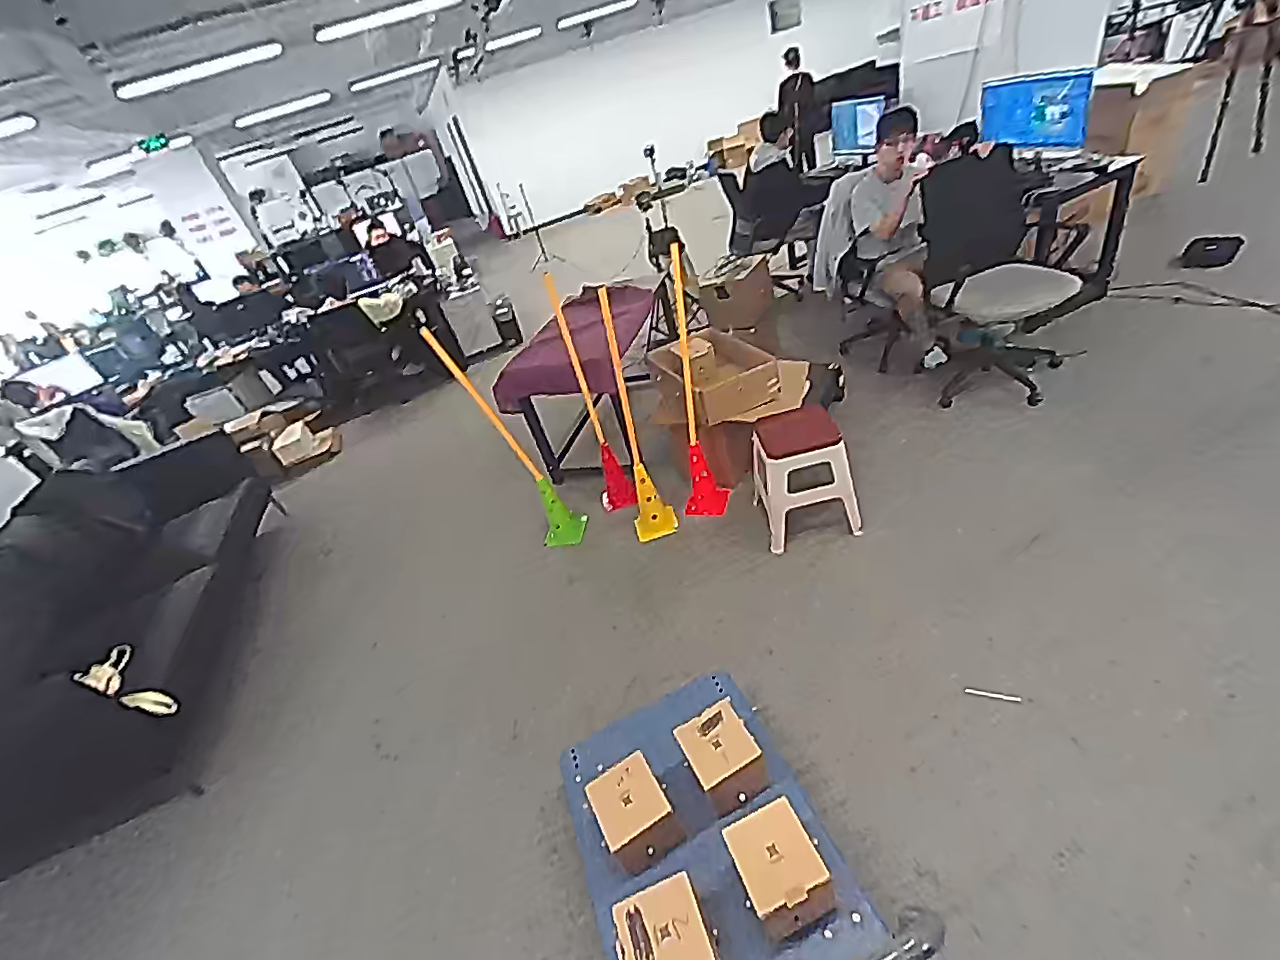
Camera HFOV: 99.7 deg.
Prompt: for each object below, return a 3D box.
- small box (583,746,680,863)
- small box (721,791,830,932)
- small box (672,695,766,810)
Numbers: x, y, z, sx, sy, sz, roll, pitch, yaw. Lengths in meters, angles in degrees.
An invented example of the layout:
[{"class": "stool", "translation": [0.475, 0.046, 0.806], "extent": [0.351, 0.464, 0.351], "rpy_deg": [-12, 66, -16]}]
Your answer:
[{"class": "small box", "translation": [-0.018, 0.821, 1.359], "extent": [0.168, 0.176, 0.179], "rpy_deg": [-27, 36, -14]}, {"class": "small box", "translation": [0.298, 0.841, 1.192], "extent": [0.168, 0.176, 0.179], "rpy_deg": [-24, 36, -8]}, {"class": "small box", "translation": [0.206, 0.709, 1.408], "extent": [0.168, 0.176, 0.179], "rpy_deg": [-27, 37, -11]}]
